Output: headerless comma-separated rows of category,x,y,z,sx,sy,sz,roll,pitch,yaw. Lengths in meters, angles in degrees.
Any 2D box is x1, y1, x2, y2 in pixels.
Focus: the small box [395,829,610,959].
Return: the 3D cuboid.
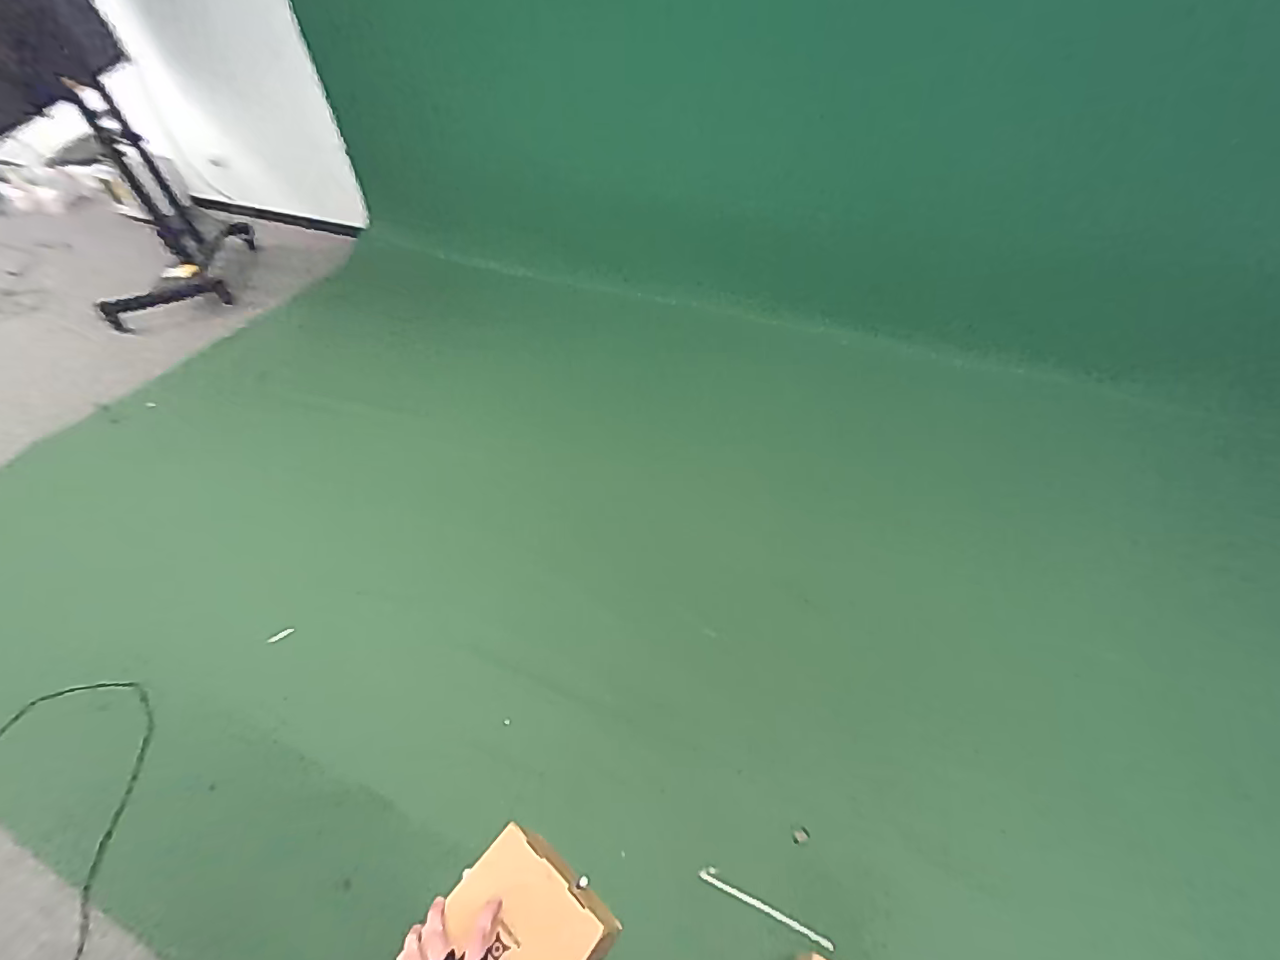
small box,-0.154,0.573,0.654,0.168,0.176,0.179,30,58,28
